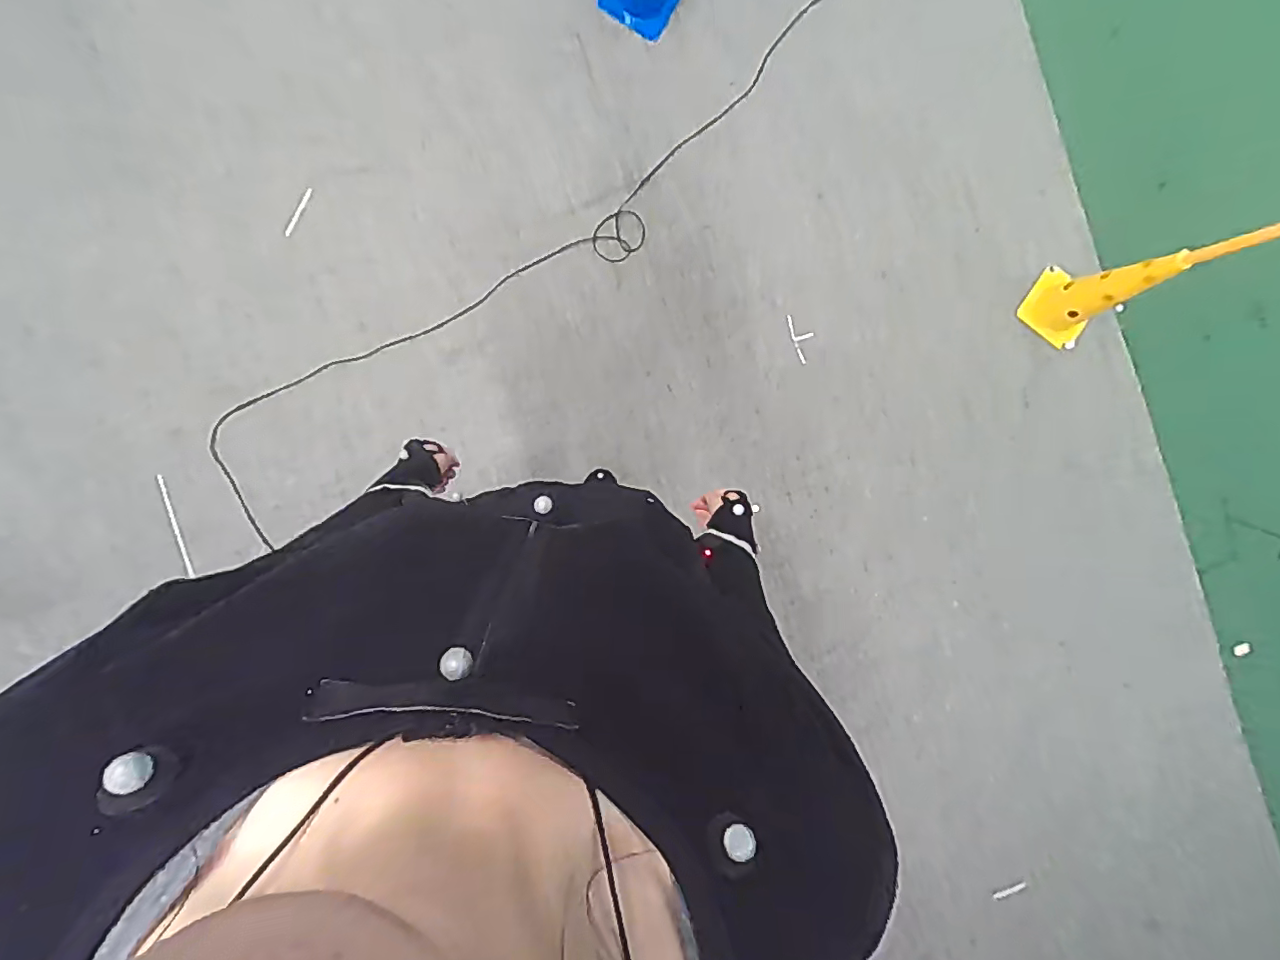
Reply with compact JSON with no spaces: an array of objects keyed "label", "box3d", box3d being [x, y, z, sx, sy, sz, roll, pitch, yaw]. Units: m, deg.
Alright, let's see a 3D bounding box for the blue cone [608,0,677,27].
[{"label":"blue cone","box3d":[0.023,-1.372,1.339,0.193,0.380,0.192,28,88,-2]}]
